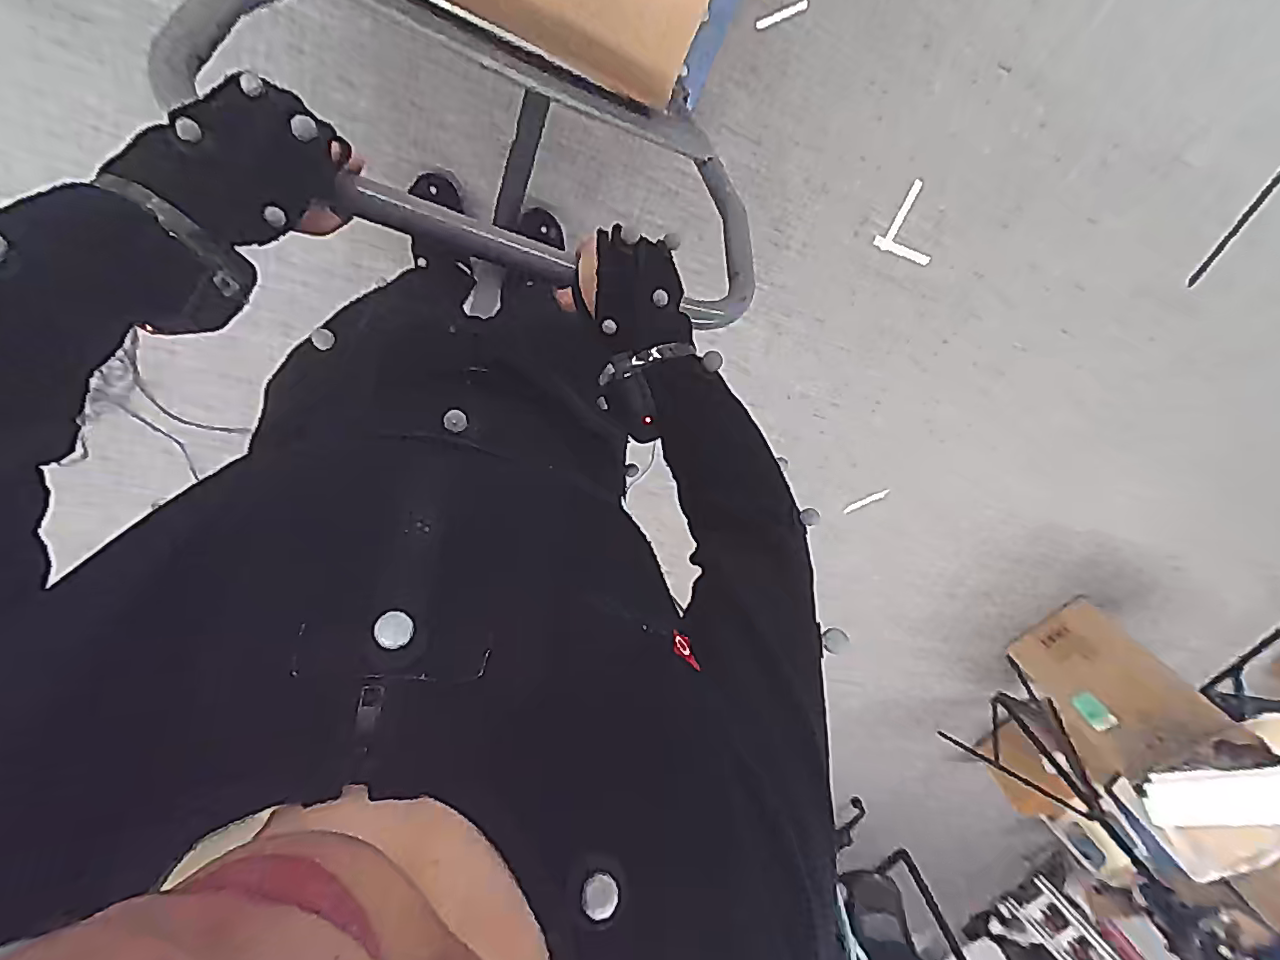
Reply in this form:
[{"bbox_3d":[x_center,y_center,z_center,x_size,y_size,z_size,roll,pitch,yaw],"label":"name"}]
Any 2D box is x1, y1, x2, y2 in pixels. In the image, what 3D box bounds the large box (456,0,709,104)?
[{"bbox_3d":[-0.104,-0.739,0.651,0.408,0.320,0.320,13,131,-23],"label":"large box"}]
